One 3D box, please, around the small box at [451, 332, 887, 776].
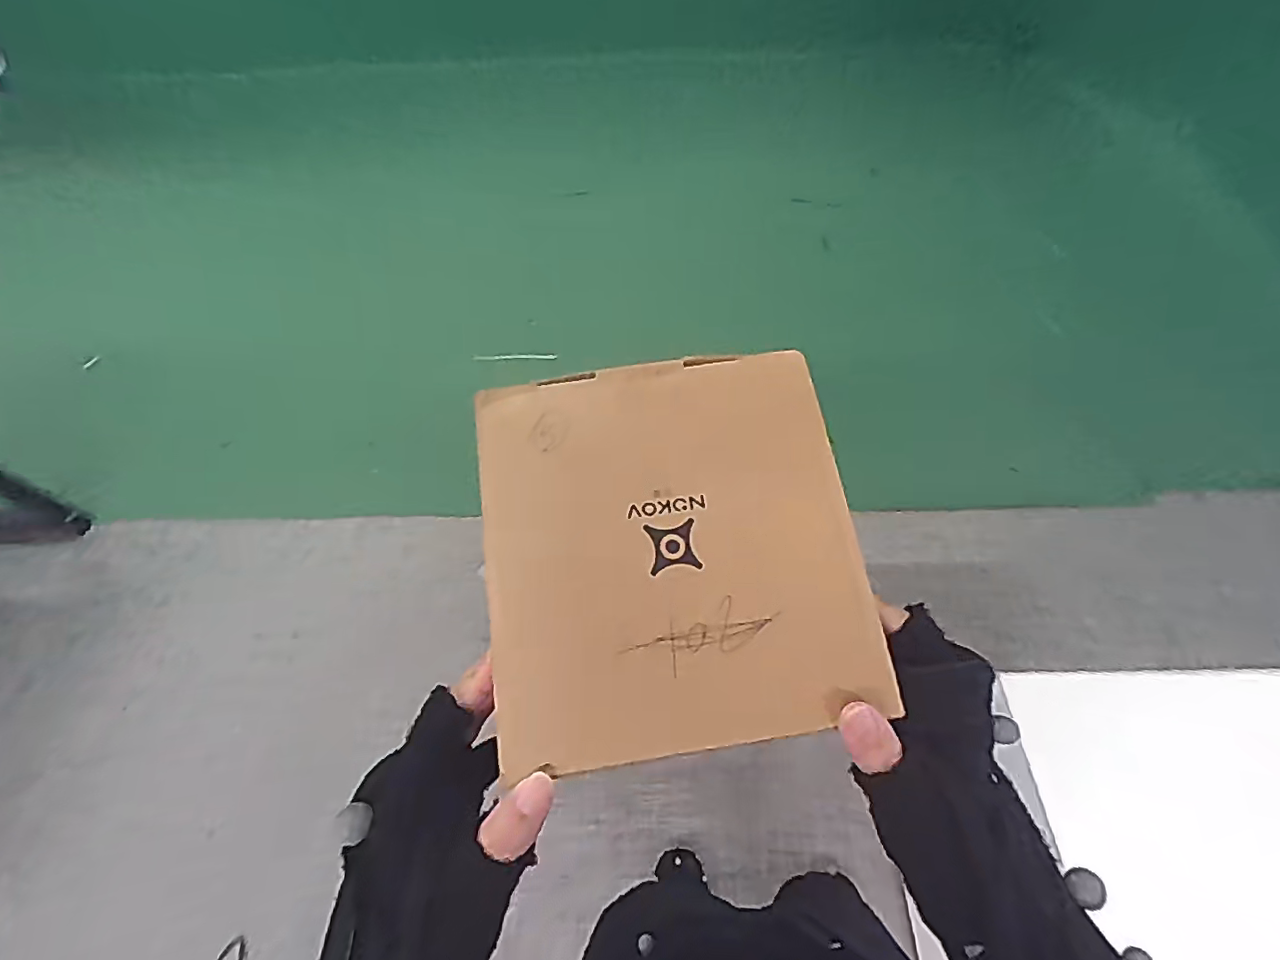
[{"bbox_3d":[0.002,0.045,0.308,0.168,0.176,0.179,-9,72,-4],"label":"small box"}]
